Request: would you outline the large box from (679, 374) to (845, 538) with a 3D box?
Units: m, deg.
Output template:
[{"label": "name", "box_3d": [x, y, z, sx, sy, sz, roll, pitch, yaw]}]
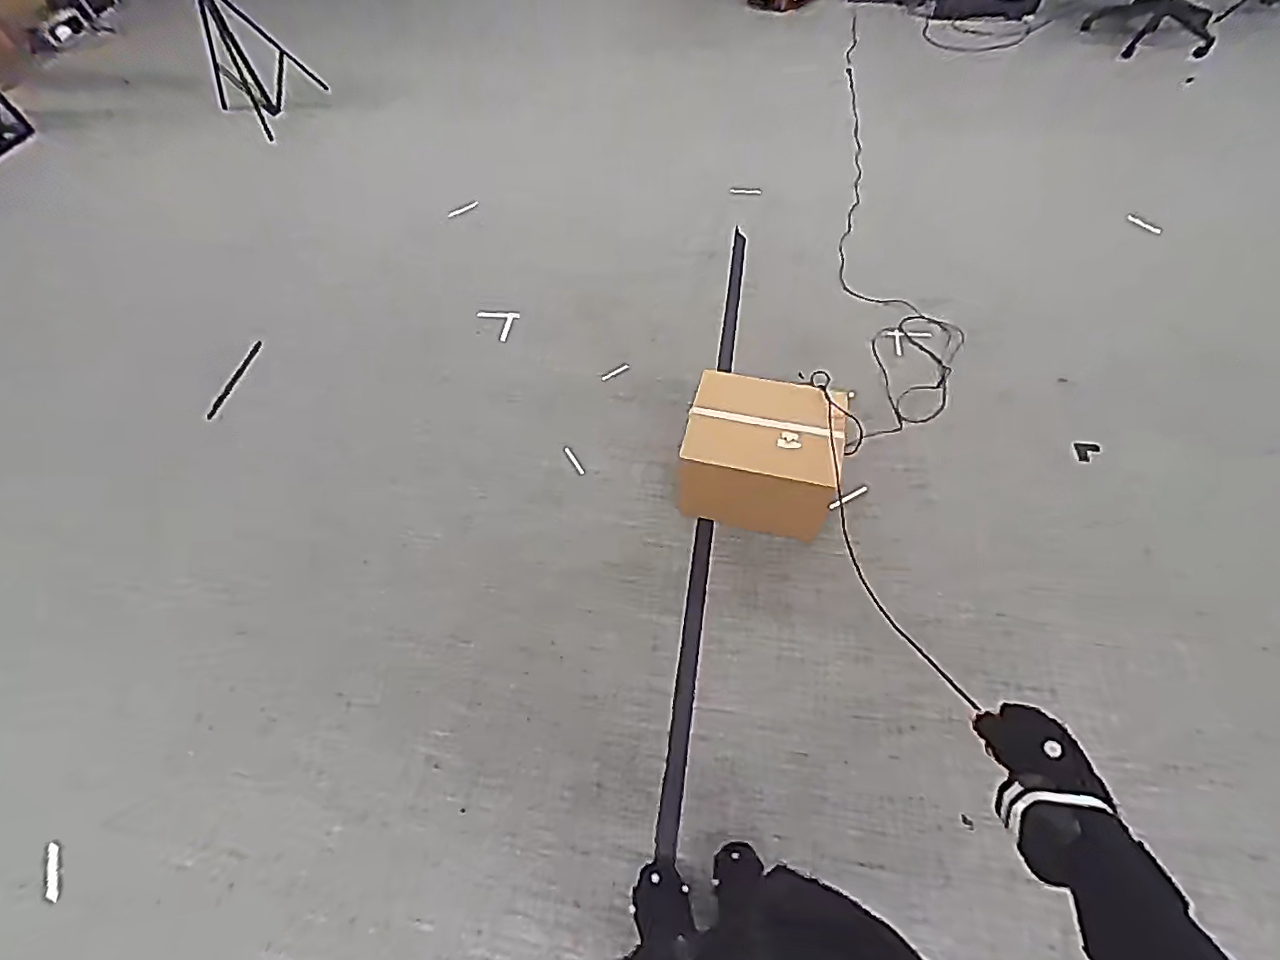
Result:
[{"label": "large box", "box_3d": [0.337, -0.065, 1.560, 0.408, 0.320, 0.320, 12, 60, 11]}]
